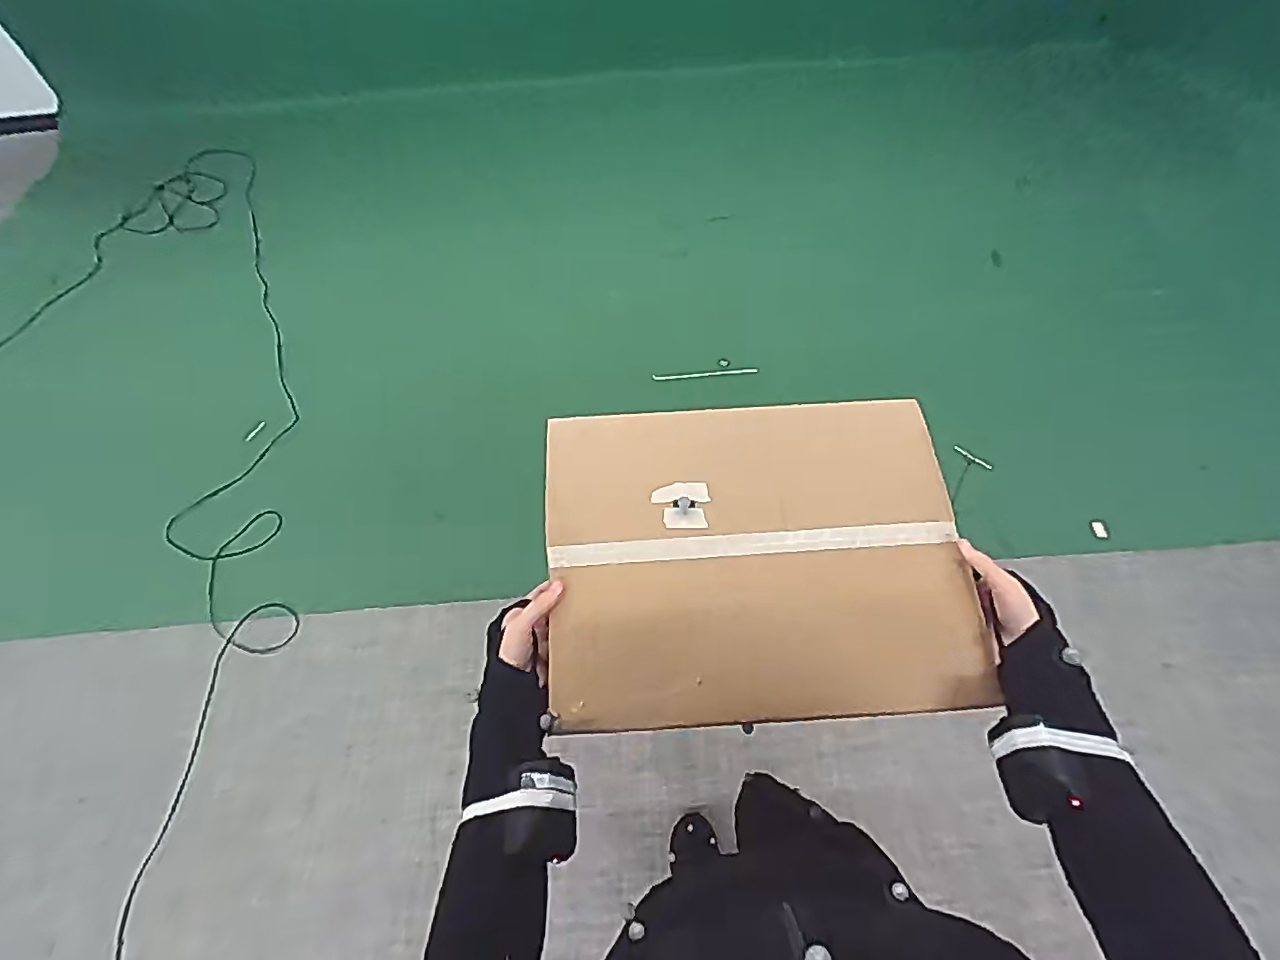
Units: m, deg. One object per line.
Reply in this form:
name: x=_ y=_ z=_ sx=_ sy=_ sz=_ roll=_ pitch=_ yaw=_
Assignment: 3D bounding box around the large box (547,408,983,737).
large box: x=0.111 y=0.131 z=0.683 sx=0.408 sy=0.320 sz=0.320 roll=-4 pitch=66 yaw=0
